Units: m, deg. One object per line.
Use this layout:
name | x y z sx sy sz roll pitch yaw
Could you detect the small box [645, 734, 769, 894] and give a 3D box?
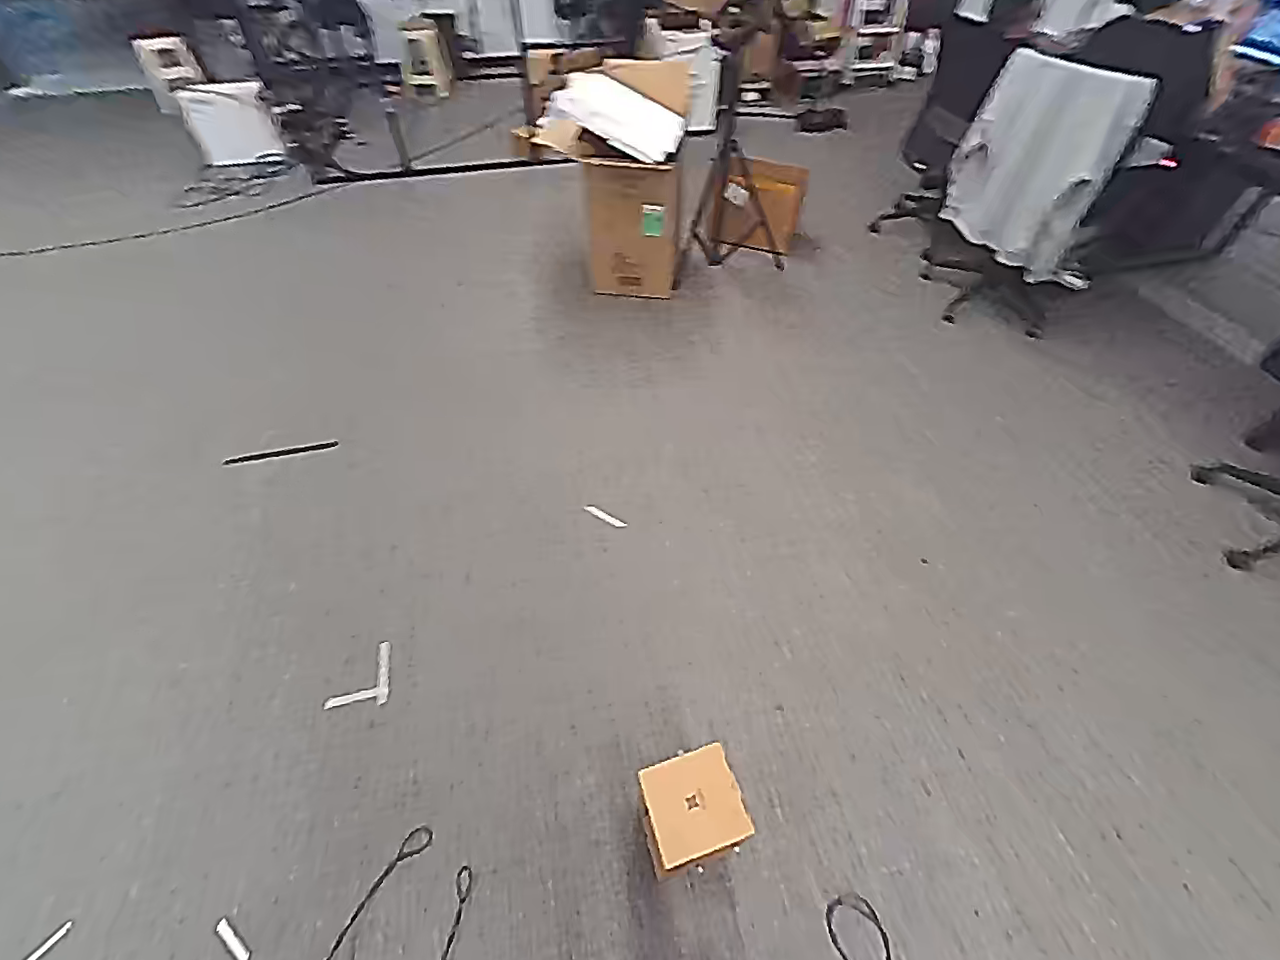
small box | 0.128 0.630 1.036 0.168 0.176 0.179 -2 29 -25
